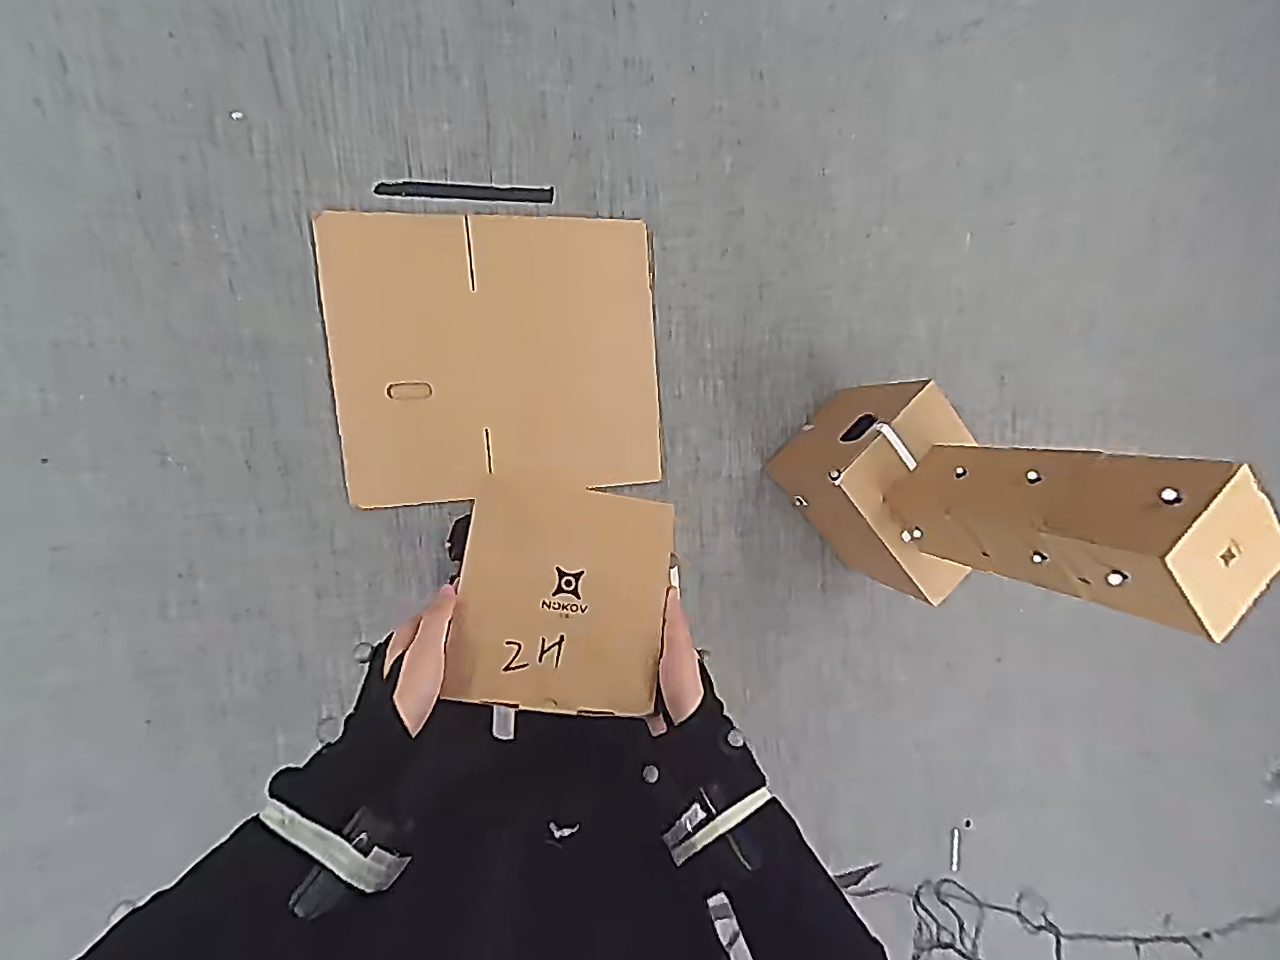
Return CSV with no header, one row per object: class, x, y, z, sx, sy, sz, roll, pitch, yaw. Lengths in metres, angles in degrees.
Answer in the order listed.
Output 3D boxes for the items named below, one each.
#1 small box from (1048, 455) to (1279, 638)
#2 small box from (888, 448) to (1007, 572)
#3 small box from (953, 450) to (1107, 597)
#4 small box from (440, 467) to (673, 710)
small box,0.726,0.082,0.763,0.179,0.176,0.168,-45,104,-7
small box,0.640,0.049,1.077,0.179,0.176,0.168,-45,104,-6
small box,0.684,0.062,0.920,0.179,0.176,0.168,-45,104,-7
small box,-0.076,0.104,0.507,0.168,0.176,0.179,9,75,-10
